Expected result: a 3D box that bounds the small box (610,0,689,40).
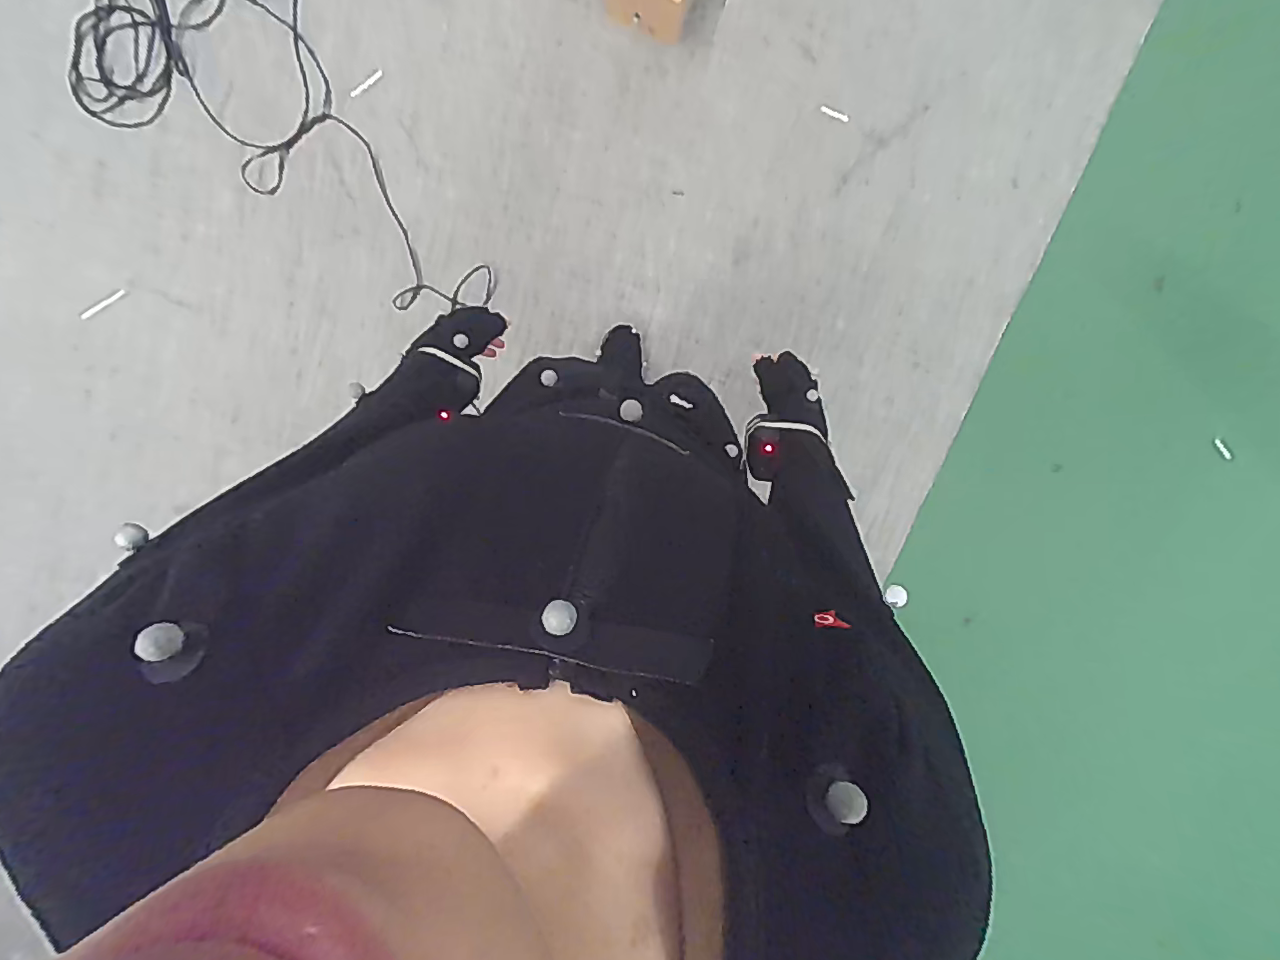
[{"bbox_3d":[0.031,-1.082,1.127,0.168,0.176,0.179,19,104,-3],"label":"small box"}]
